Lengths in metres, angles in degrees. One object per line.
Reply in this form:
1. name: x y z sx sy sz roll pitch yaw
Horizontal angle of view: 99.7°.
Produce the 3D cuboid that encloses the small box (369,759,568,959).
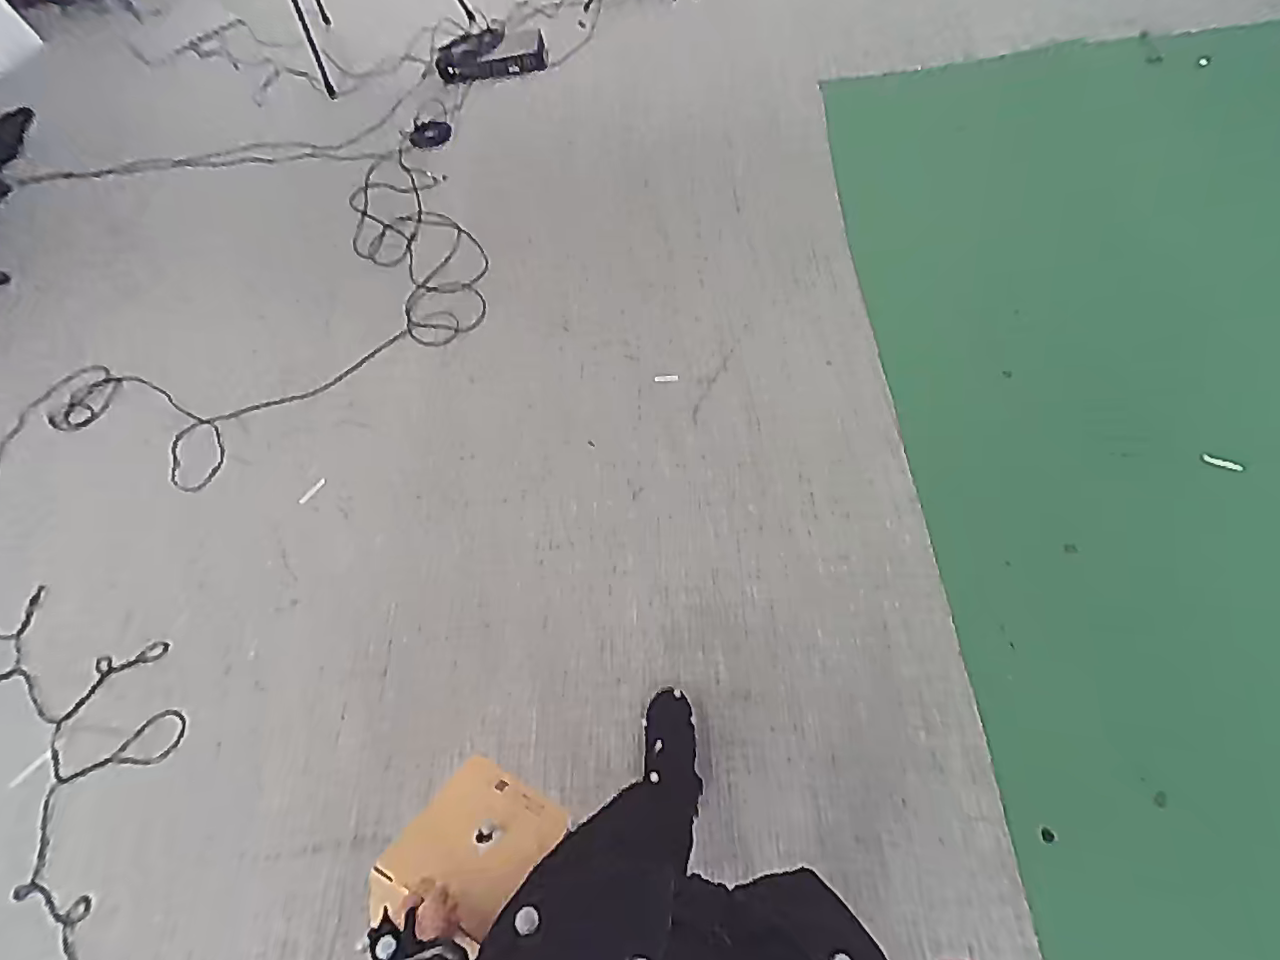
1. small box: -0.208 0.496 0.677 0.168 0.179 0.176 22 26 15
